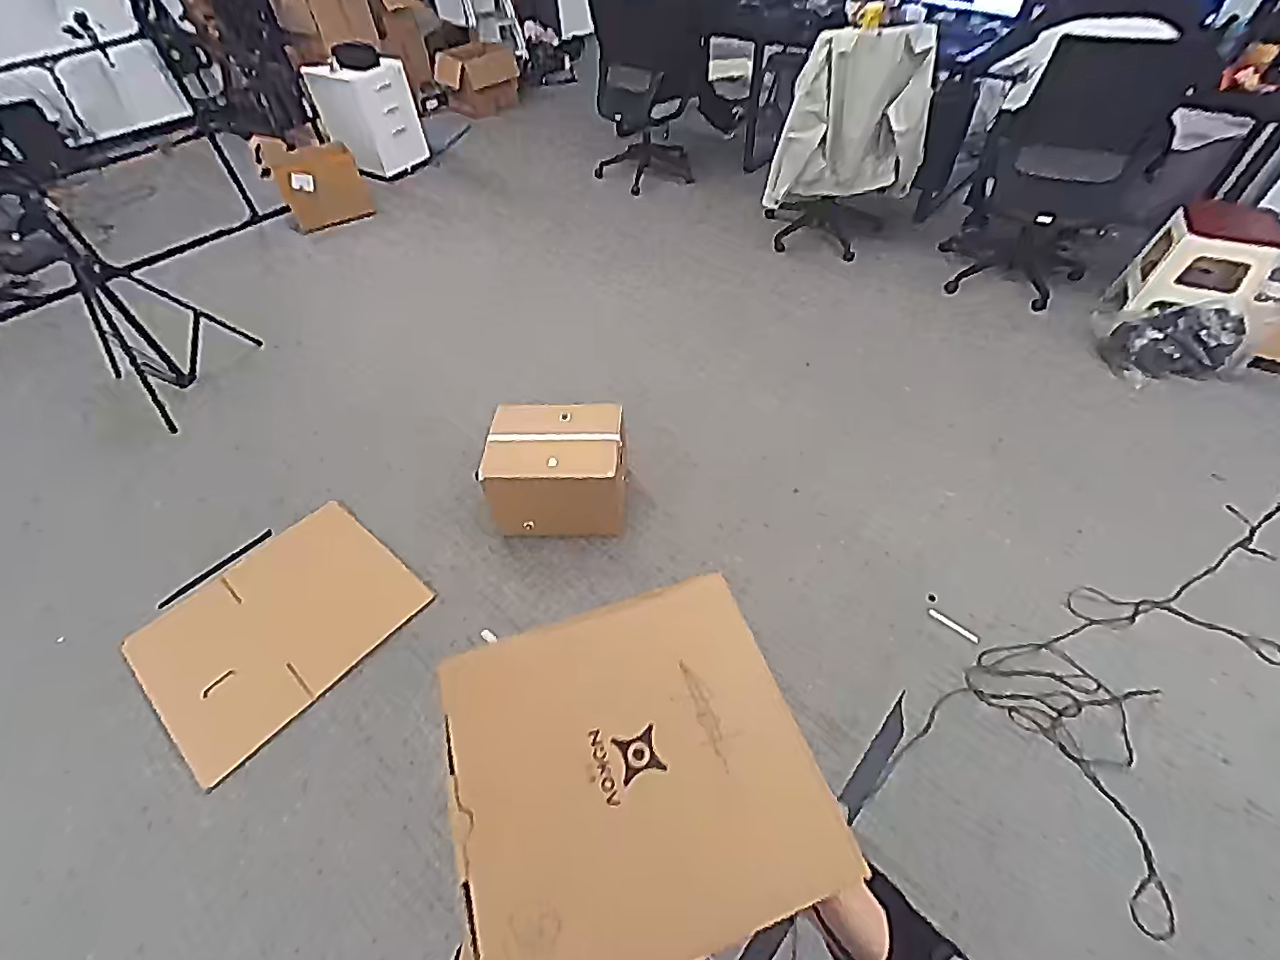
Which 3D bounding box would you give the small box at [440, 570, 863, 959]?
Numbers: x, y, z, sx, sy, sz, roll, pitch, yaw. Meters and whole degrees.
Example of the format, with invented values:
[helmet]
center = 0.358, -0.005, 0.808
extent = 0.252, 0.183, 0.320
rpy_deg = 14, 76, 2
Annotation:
[small box]
center = -0.005, 0.187, 0.336
extent = 0.179, 0.176, 0.168
rpy_deg = -15, 55, -14
